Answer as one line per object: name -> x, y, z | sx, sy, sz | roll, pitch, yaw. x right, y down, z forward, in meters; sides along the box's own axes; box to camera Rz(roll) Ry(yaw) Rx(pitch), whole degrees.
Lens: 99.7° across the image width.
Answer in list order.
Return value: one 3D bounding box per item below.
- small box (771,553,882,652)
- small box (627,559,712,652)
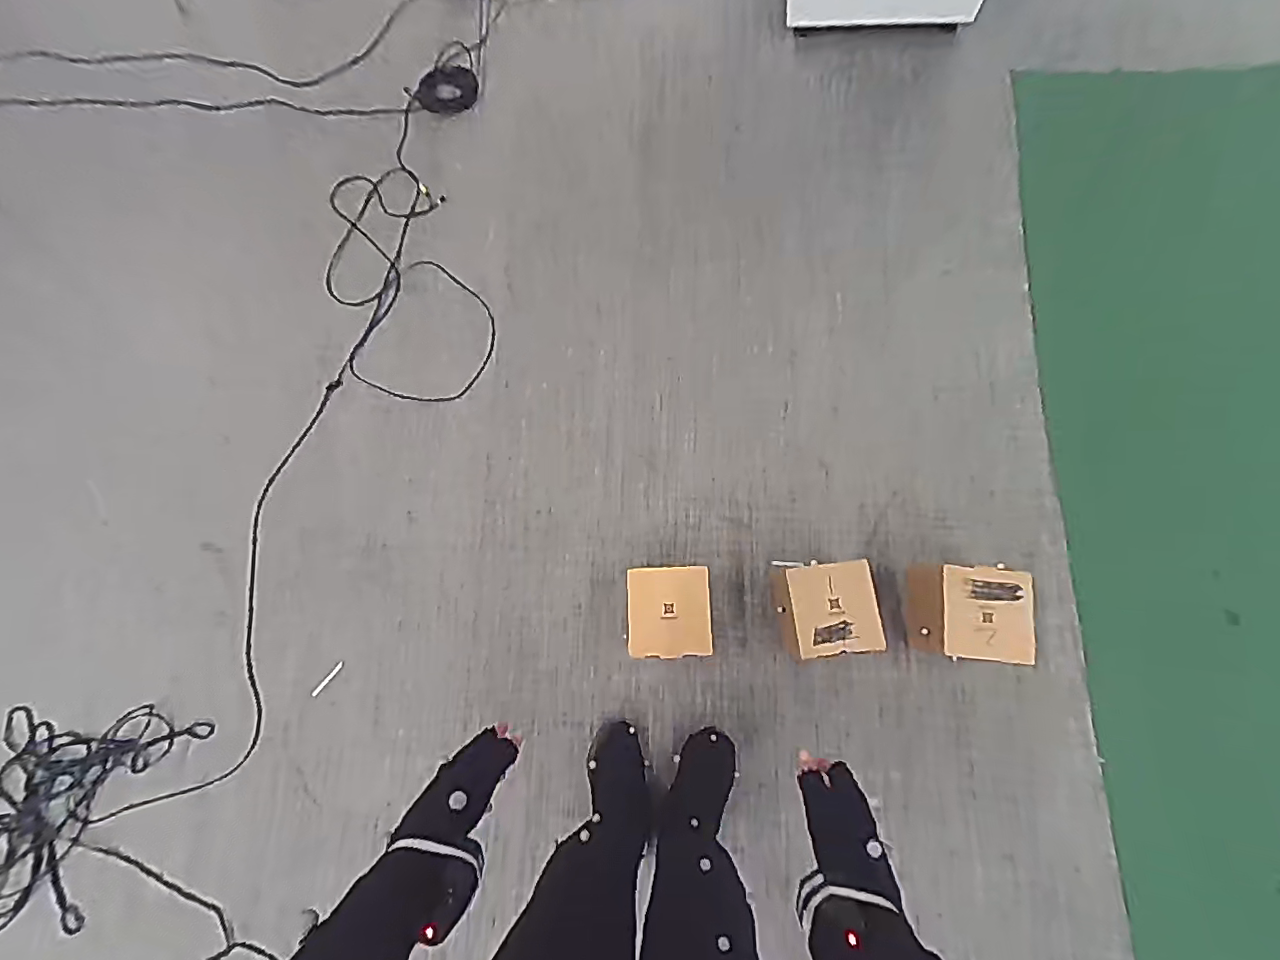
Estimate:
small box -> 0.378, 0.254, 1.126 | 0.168, 0.176, 0.179 | -7, 76, 2
small box -> 0.061, 0.266, 1.148 | 0.168, 0.176, 0.179 | -4, 77, 4
